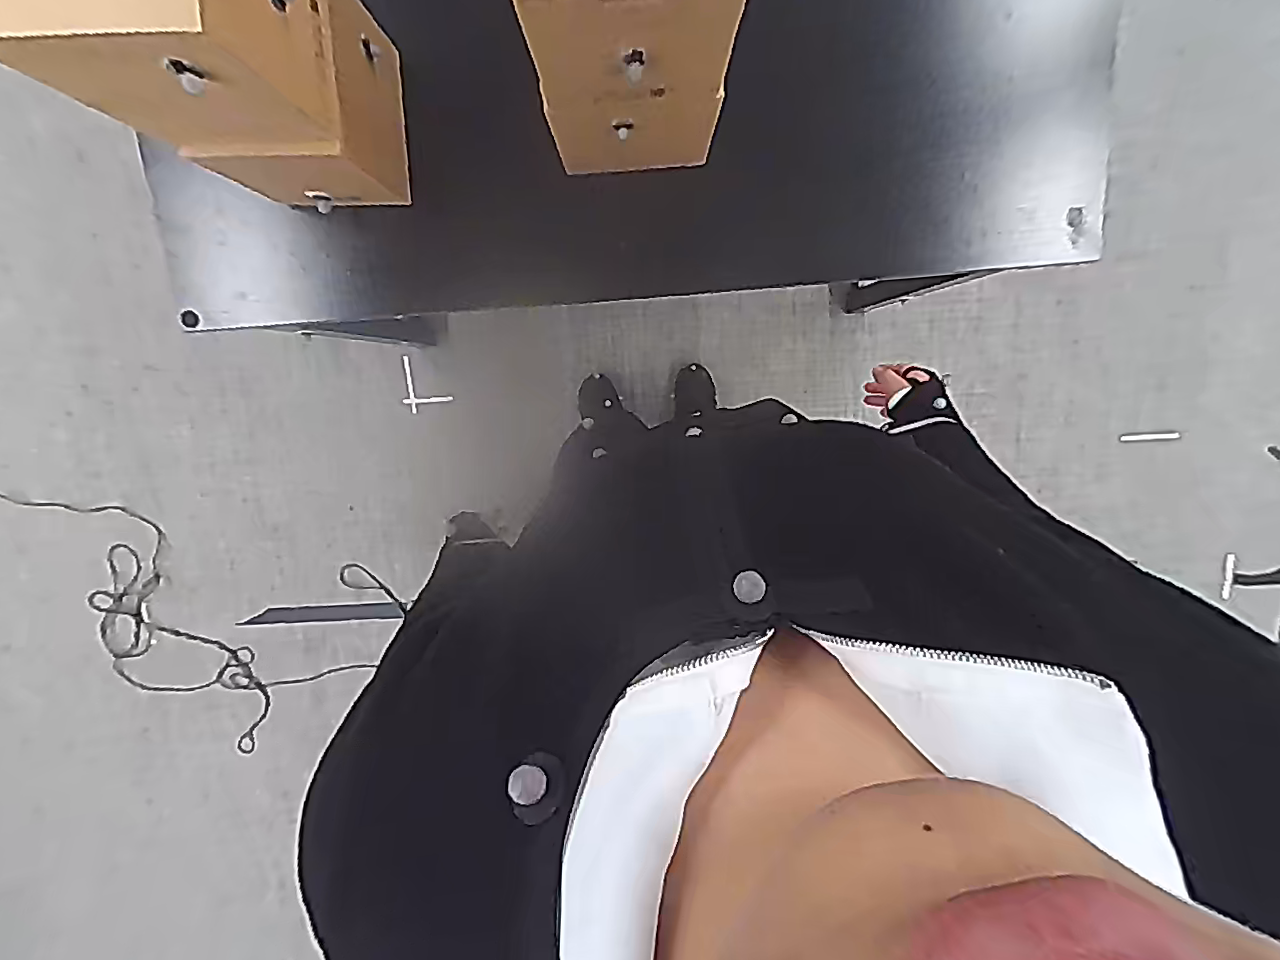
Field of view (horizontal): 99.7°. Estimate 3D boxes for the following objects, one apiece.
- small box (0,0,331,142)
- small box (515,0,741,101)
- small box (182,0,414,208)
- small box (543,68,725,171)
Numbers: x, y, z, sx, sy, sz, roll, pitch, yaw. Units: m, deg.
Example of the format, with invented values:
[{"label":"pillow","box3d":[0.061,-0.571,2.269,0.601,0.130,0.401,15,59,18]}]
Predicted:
[{"label":"small box","box3d":[-0.376,-0.394,0.433,0.179,0.176,0.168,-1,100,1]},{"label":"small box","box3d":[-0.009,-0.428,0.424,0.168,0.176,0.179,-5,101,1]},{"label":"small box","box3d":[-0.369,-0.419,0.596,0.168,0.176,0.179,-1,102,2]},{"label":"small box","box3d":[-0.008,-0.455,0.585,0.179,0.176,0.168,-4,101,1]}]
